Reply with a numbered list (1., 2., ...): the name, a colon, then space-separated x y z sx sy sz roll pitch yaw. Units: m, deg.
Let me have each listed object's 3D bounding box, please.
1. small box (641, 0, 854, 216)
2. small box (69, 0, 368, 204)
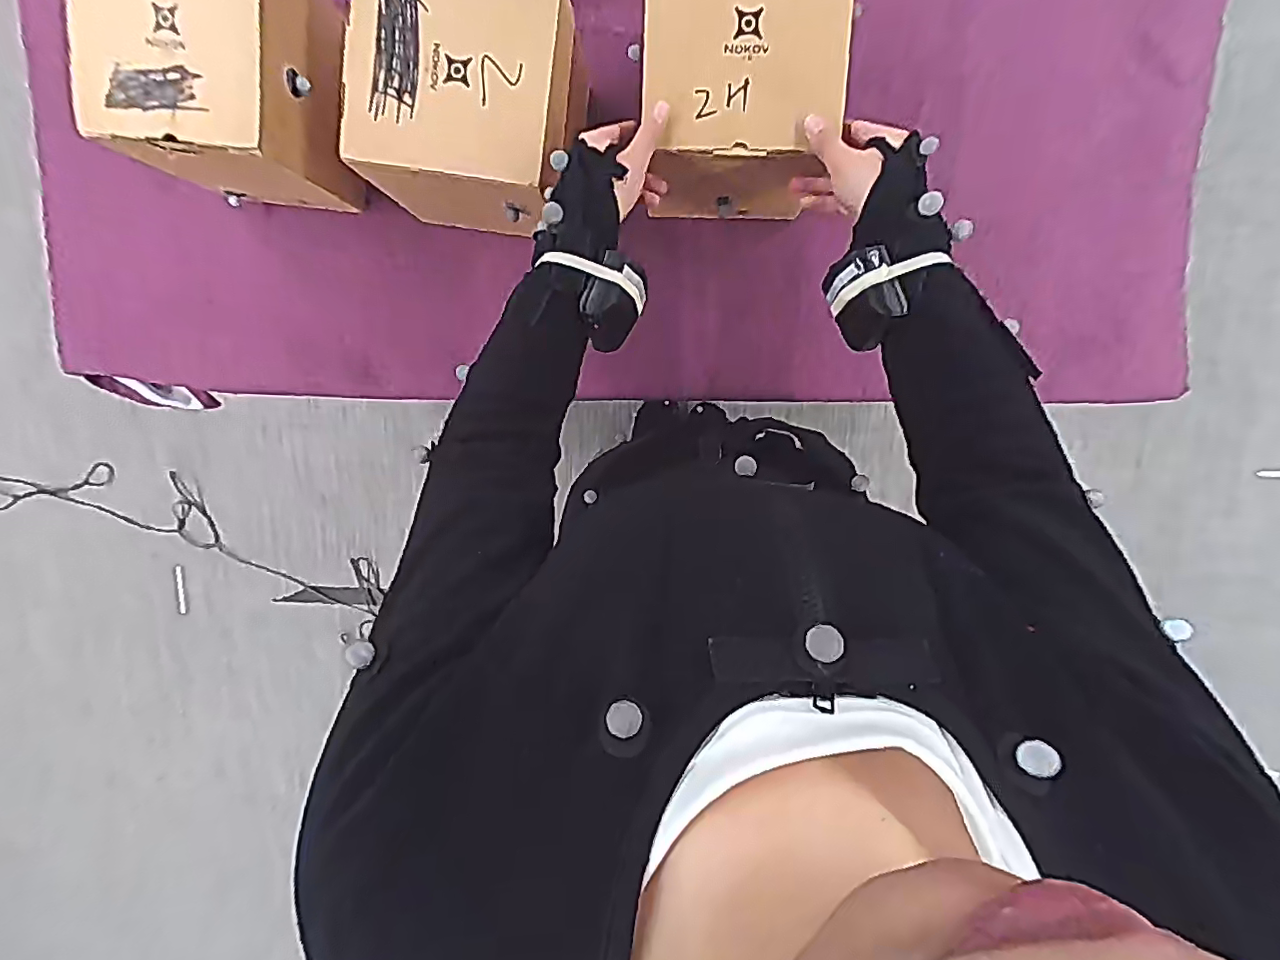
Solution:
1. small box: 0.089 -0.372 0.510 0.168 0.176 0.179 3 99 3
2. small box: -0.388 -0.392 0.528 0.168 0.176 0.179 7 99 1
